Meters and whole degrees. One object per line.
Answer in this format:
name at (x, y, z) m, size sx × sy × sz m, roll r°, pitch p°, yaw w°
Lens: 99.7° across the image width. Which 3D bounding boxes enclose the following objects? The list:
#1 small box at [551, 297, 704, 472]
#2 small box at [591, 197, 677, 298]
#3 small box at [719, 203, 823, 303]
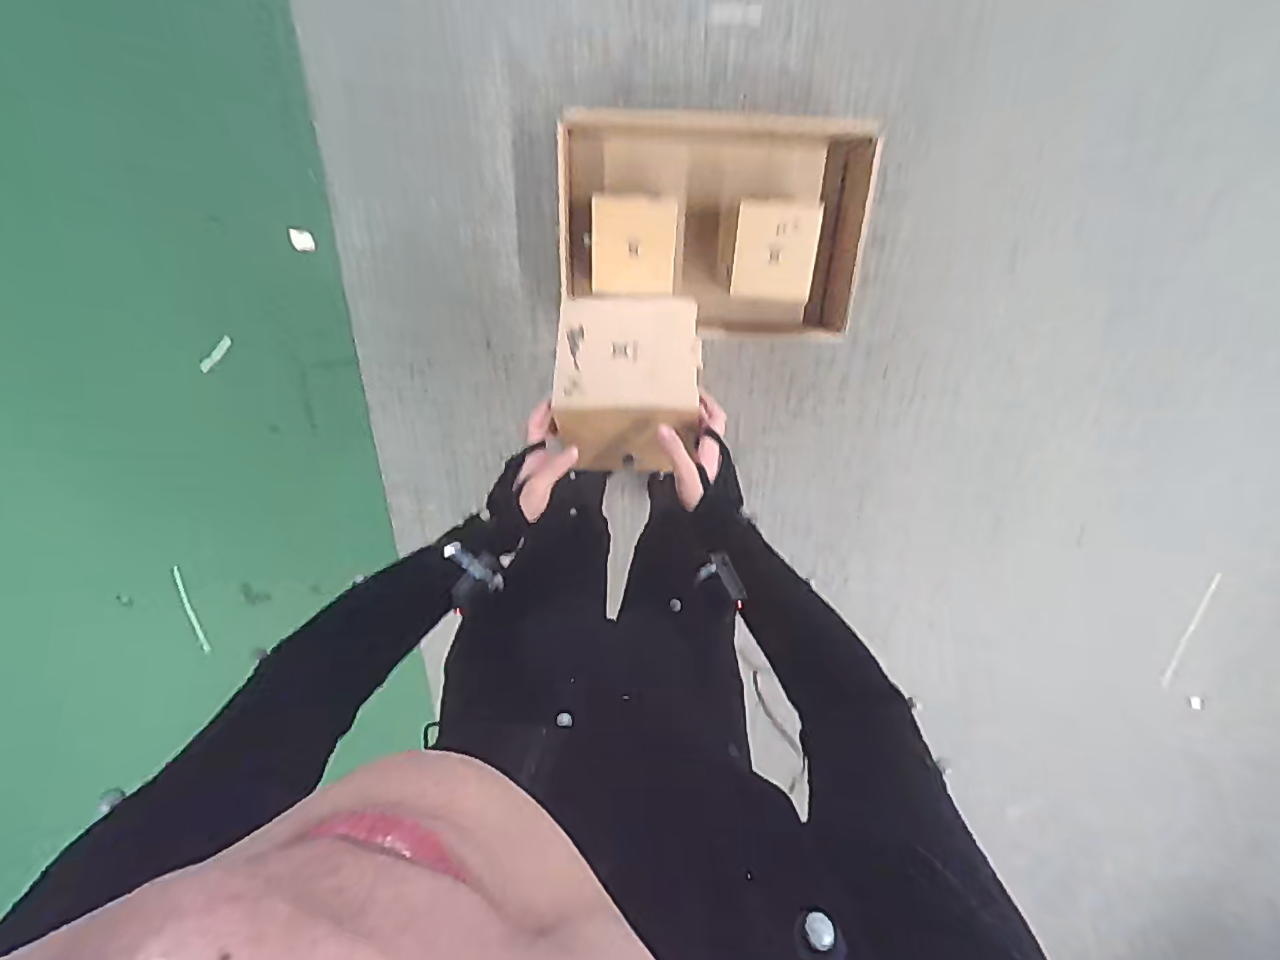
small box at (-0.013, -0.118, 0.716) m, size 0.179 × 0.168 × 0.176 m, roll 1°, pitch 156°, yaw 0°
small box at (-0.016, -0.483, 1.130) m, size 0.168 × 0.176 × 0.179 m, roll 1°, pitch 113°, yaw -3°
small box at (0.265, -0.479, 1.143) m, size 0.168 × 0.176 × 0.179 m, roll 2°, pitch 114°, yaw -3°
